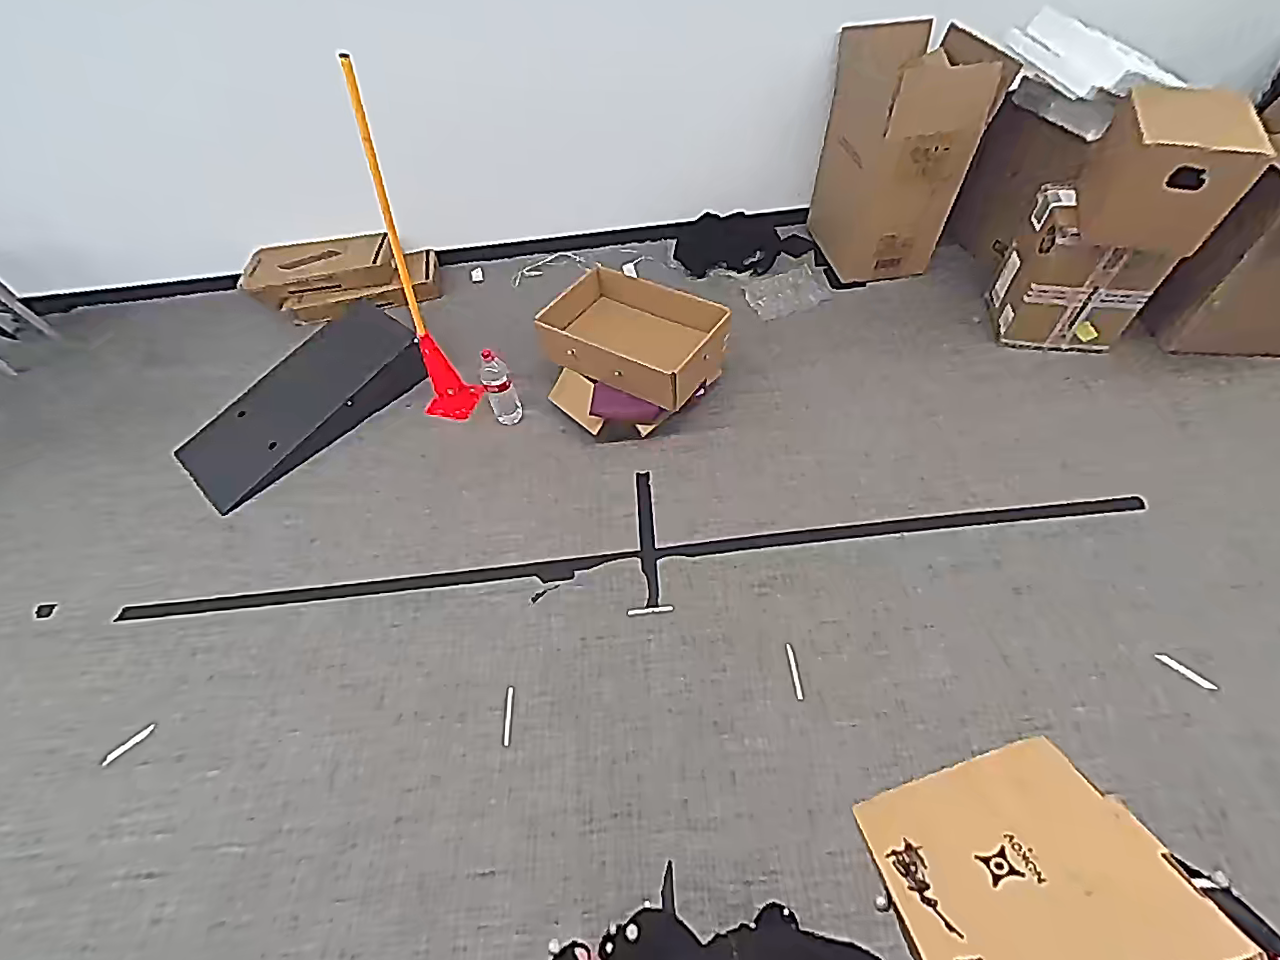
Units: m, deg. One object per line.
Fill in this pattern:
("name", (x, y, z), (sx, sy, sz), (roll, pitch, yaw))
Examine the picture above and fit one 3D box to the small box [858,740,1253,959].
("small box", (0.304, 0.350, 0.420), (0.179, 0.176, 0.168), (-23, 16, 5))
